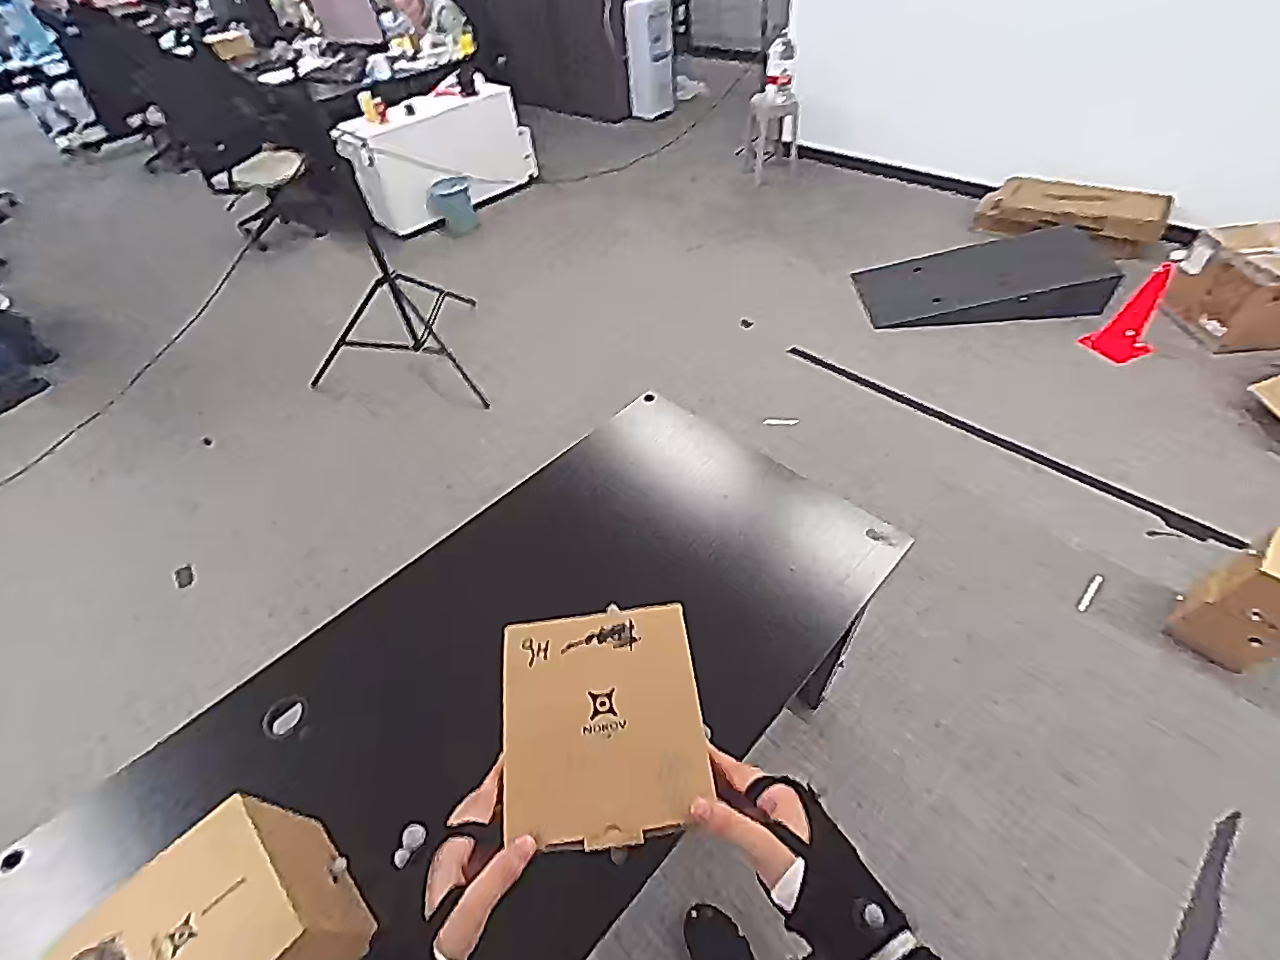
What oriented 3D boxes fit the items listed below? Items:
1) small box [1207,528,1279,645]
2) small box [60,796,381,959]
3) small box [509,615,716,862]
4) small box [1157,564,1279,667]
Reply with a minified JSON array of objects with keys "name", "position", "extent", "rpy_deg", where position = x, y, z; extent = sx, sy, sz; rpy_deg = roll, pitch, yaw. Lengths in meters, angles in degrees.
[{"name":"small box","position":[1.518,0.254,1.284],"extent":[0.179,0.176,0.168],"rpy_deg":[-39,55,-24]},{"name":"small box","position":[-0.406,0.473,0.549],"extent":[0.168,0.176,0.179],"rpy_deg":[33,58,30]},{"name":"small box","position":[-0.027,0.250,0.526],"extent":[0.168,0.176,0.179],"rpy_deg":[-7,57,-3]},{"name":"small box","position":[1.523,0.360,1.407],"extent":[0.168,0.176,0.179],"rpy_deg":[-37,55,-24]}]
